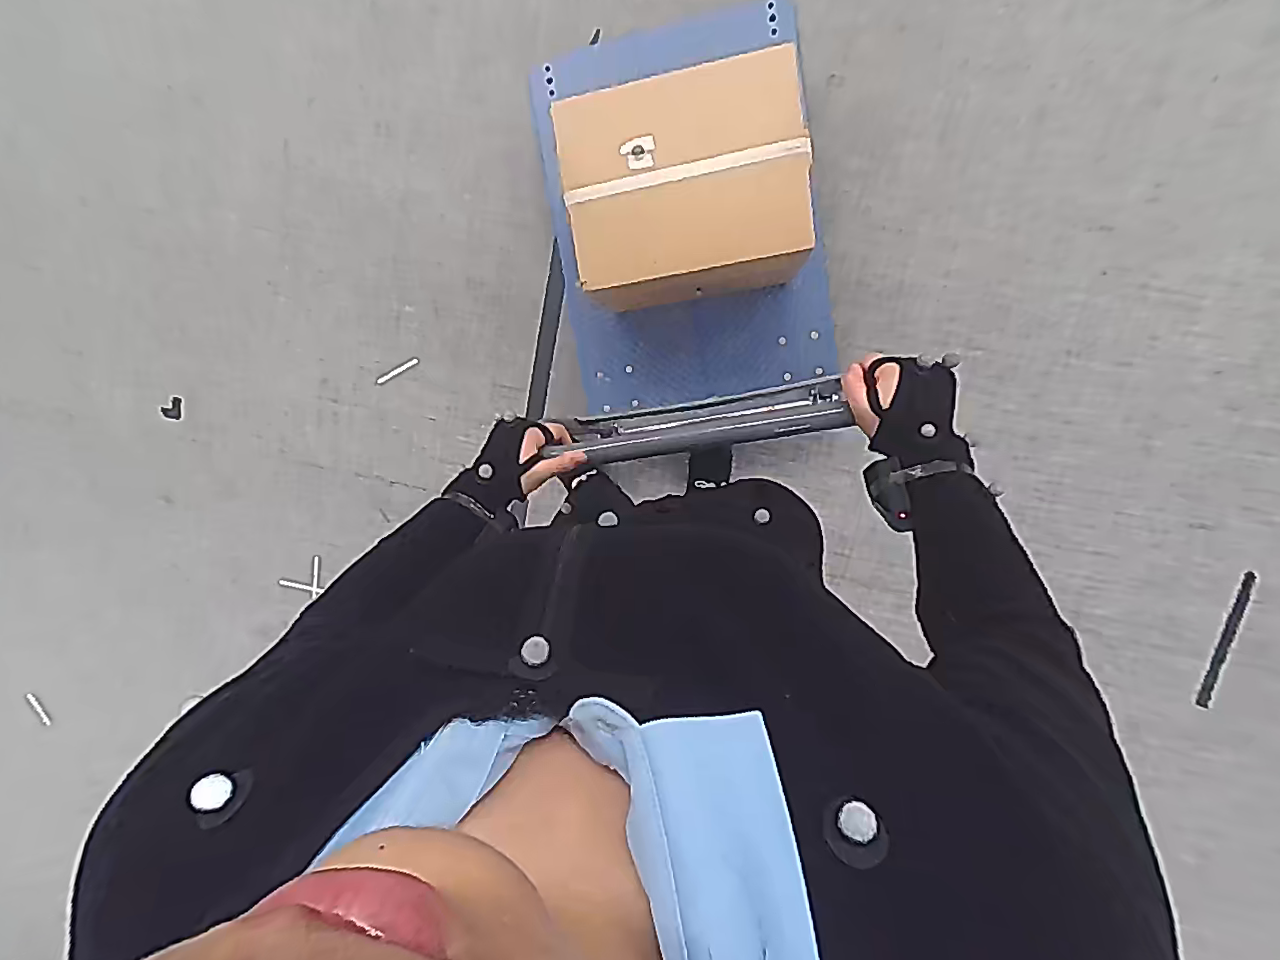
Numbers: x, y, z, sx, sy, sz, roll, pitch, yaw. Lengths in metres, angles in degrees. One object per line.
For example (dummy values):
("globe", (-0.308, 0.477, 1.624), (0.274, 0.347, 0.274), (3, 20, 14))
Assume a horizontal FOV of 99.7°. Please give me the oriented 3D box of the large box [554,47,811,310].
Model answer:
("large box", (0.092, -0.543, 1.061), (0.408, 0.320, 0.320), (-8, 98, 10))
